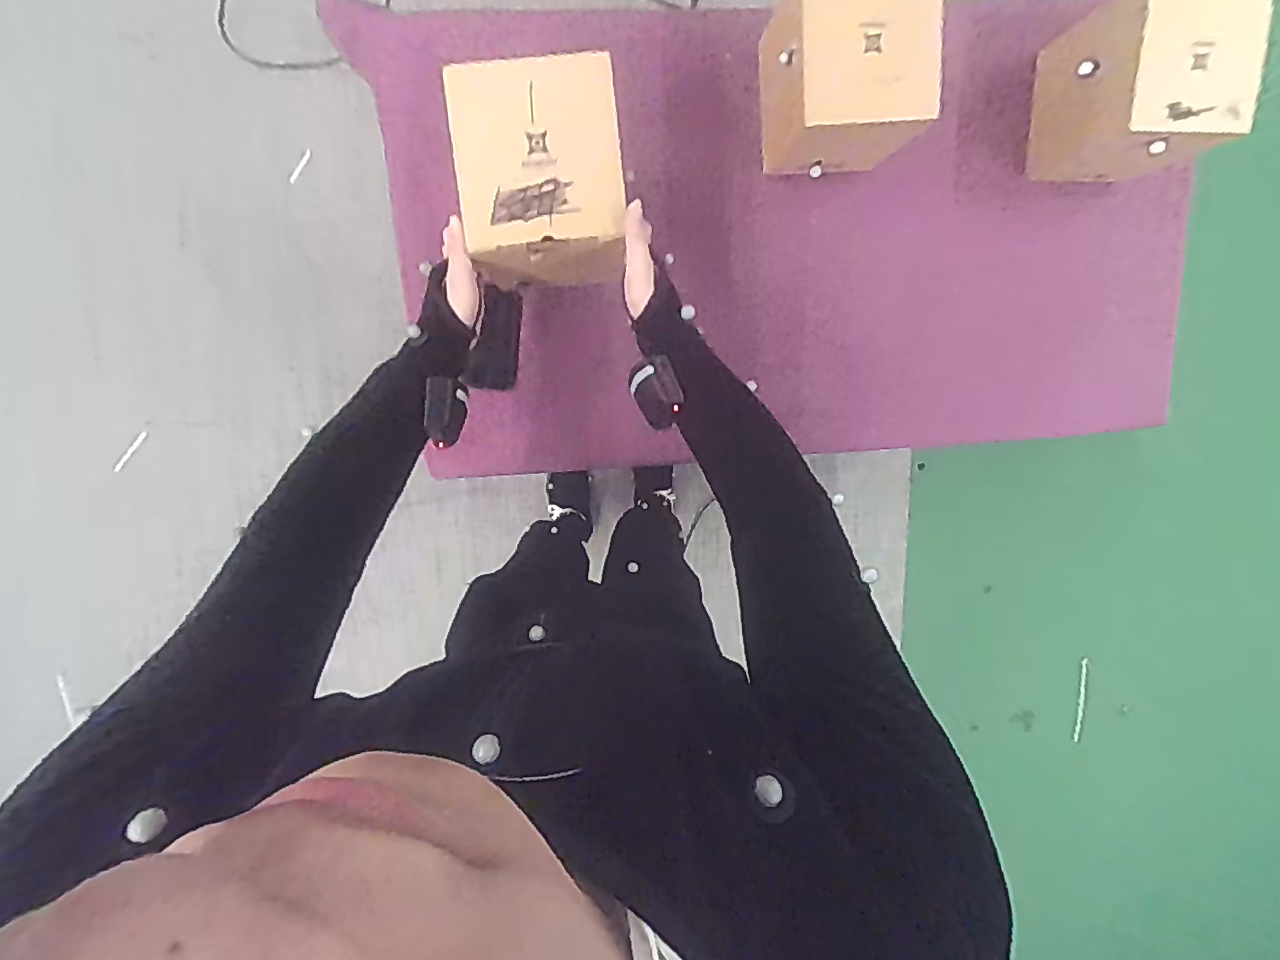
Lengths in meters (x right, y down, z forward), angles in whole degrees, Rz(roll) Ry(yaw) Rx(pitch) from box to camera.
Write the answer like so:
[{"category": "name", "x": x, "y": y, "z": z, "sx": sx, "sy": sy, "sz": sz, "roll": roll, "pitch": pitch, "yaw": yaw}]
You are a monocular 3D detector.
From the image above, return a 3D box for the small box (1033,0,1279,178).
[{"category": "small box", "x": 0.667, "y": -0.529, "z": 0.719, "sx": 0.168, "sy": 0.176, "sz": 0.179, "roll": -2, "pitch": 100, "yaw": -4}]

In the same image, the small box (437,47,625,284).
[{"category": "small box", "x": -0.106, "y": -0.326, "z": 0.600, "sx": 0.168, "sy": 0.176, "sz": 0.179, "roll": -6, "pitch": 95, "yaw": -1}]

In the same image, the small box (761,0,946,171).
[{"category": "small box", "x": 0.257, "y": -0.520, "z": 0.686, "sx": 0.168, "sy": 0.176, "sz": 0.179, "roll": -5, "pitch": 101, "yaw": -3}]
